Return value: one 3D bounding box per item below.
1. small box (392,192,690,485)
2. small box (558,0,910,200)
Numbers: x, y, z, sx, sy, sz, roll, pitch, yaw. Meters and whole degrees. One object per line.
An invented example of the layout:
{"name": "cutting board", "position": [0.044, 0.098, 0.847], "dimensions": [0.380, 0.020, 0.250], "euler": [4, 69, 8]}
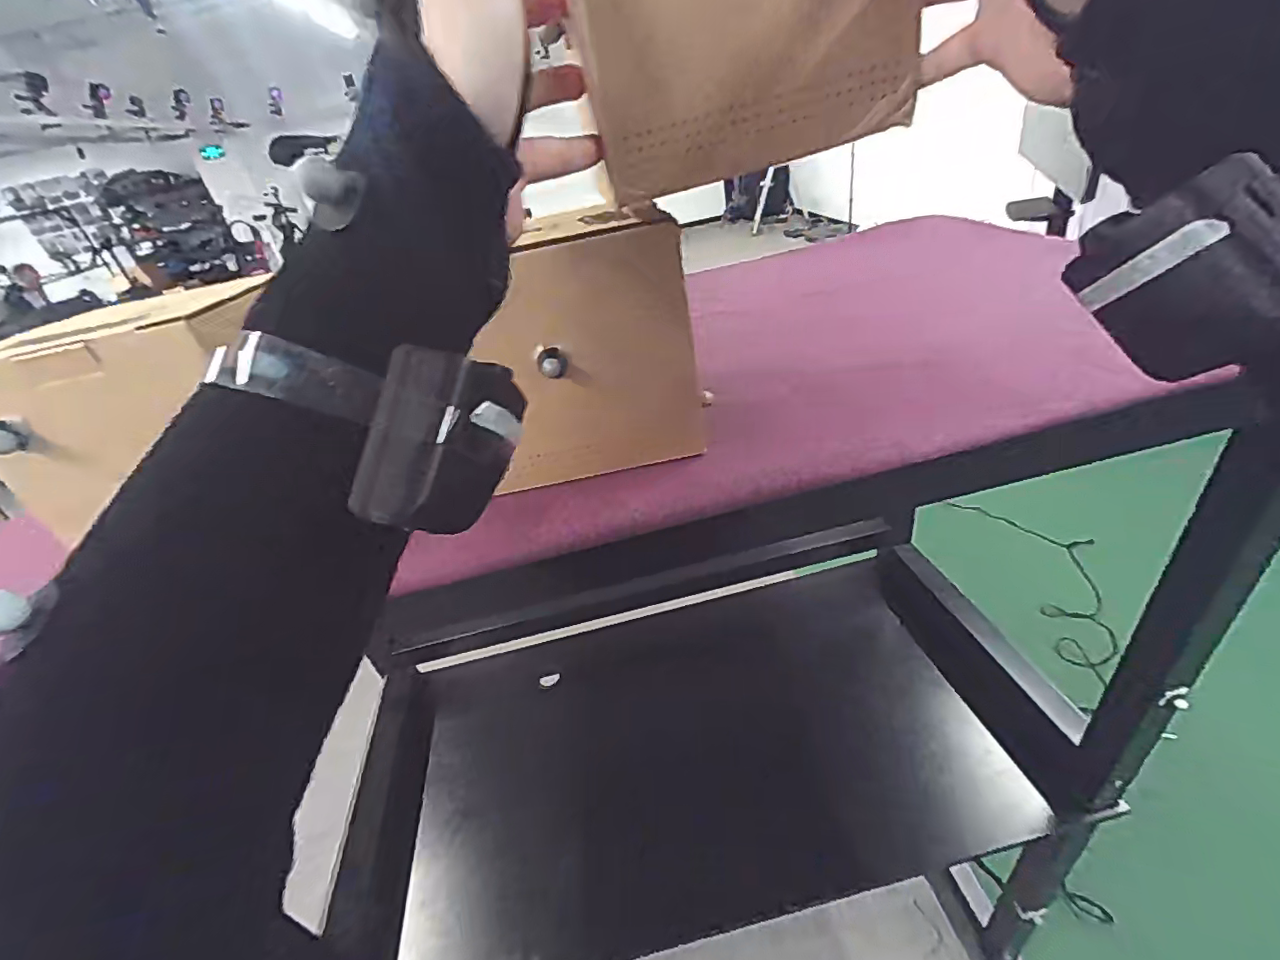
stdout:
{"name": "small box", "position": [-0.060, -0.119, 0.440], "dimensions": [0.179, 0.176, 0.168], "euler": [-13, 33, 2]}
{"name": "small box", "position": [0.043, -0.285, 0.324], "dimensions": [0.179, 0.176, 0.168], "euler": [-15, 34, 2]}
